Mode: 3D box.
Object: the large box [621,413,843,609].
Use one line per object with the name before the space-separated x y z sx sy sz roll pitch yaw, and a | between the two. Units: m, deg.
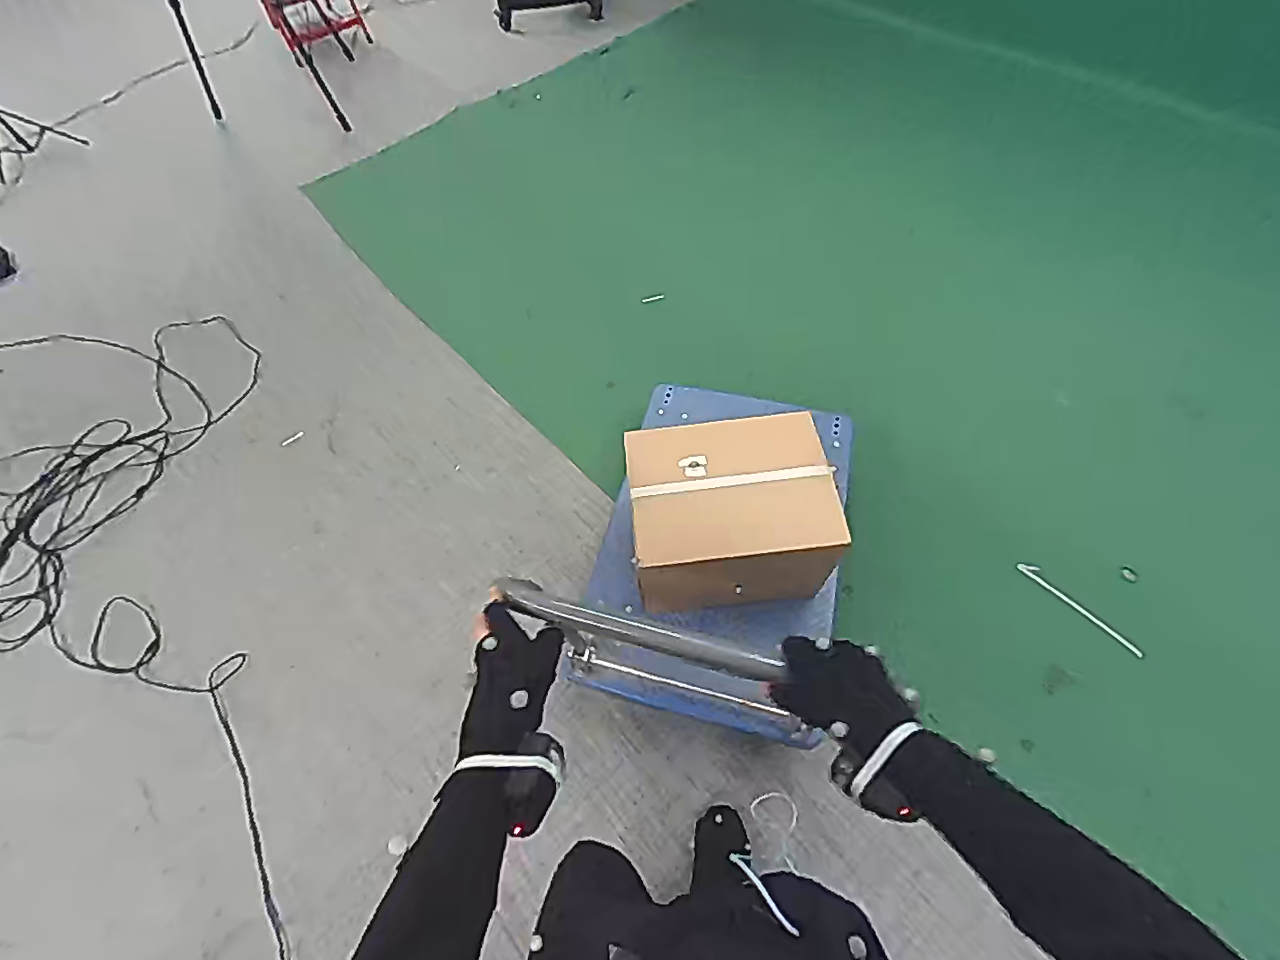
large box | 0.183 0.082 1.214 0.408 0.320 0.320 -6 60 2
